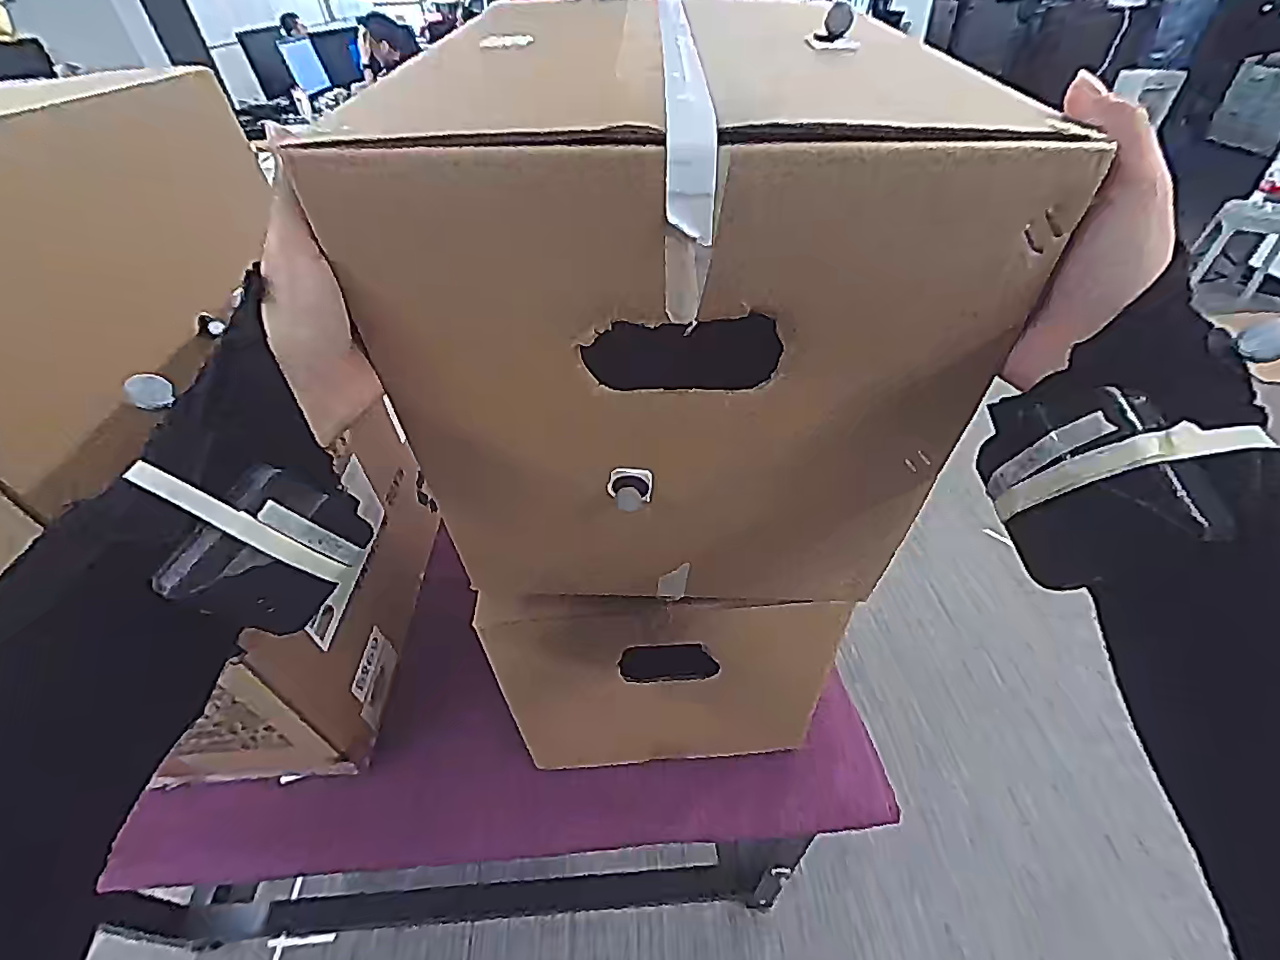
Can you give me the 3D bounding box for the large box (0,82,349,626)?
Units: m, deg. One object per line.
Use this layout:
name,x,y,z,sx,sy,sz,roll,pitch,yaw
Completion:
large box,-0.535,-0.124,0.483,0.320,0.320,0.408,-6,43,3
